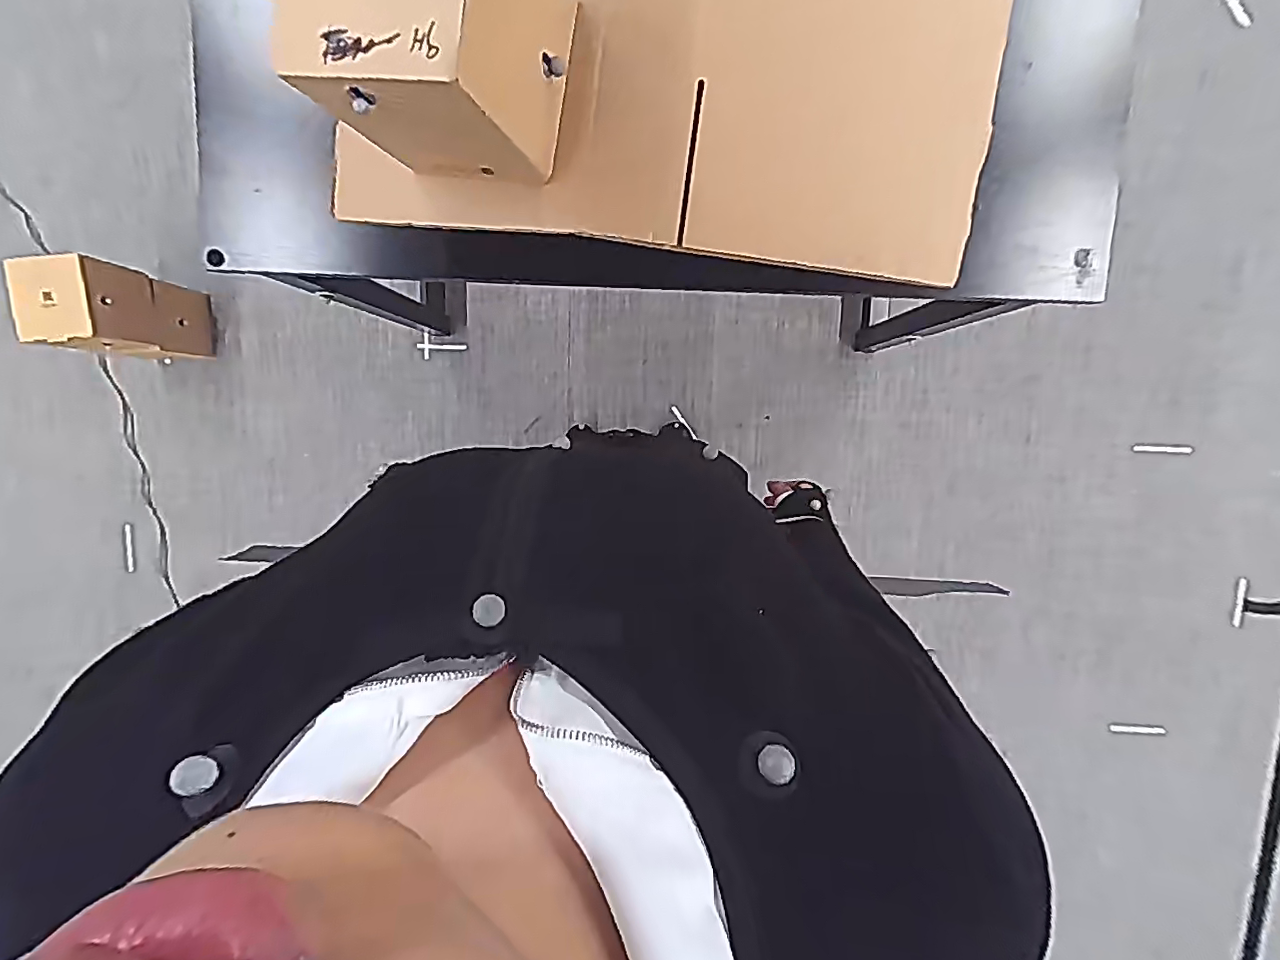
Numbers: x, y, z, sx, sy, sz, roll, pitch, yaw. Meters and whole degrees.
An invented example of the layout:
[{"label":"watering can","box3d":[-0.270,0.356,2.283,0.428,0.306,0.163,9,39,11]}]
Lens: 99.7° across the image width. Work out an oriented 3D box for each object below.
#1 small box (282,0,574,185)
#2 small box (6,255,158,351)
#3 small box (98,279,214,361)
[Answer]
[{"label":"small box","box3d":[-0.170,-0.394,0.477,0.168,0.176,0.179,12,97,14]},{"label":"small box","box3d":[-1.253,-0.393,1.230,0.168,0.176,0.179,-5,95,1]},{"label":"small box","box3d":[-1.248,-0.405,1.392,0.168,0.176,0.179,-2,97,1]}]
